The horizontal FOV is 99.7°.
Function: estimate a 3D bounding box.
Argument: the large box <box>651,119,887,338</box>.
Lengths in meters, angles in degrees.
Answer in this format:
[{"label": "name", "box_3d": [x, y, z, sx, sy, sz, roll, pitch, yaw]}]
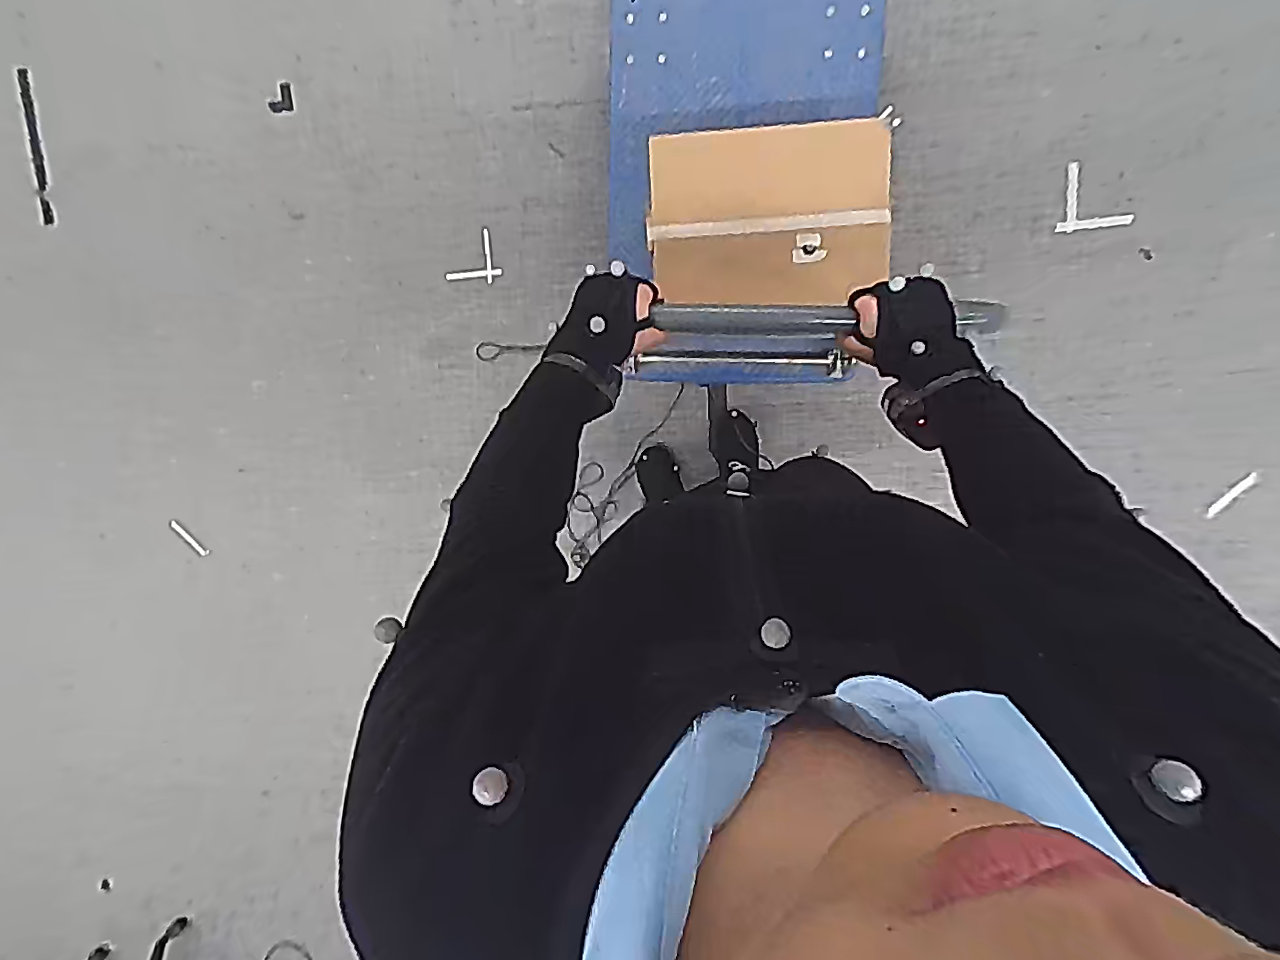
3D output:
[{"label": "large box", "box_3d": [0.234, -0.471, 1.092, 0.408, 0.320, 0.320, -2, 100, 4]}]
